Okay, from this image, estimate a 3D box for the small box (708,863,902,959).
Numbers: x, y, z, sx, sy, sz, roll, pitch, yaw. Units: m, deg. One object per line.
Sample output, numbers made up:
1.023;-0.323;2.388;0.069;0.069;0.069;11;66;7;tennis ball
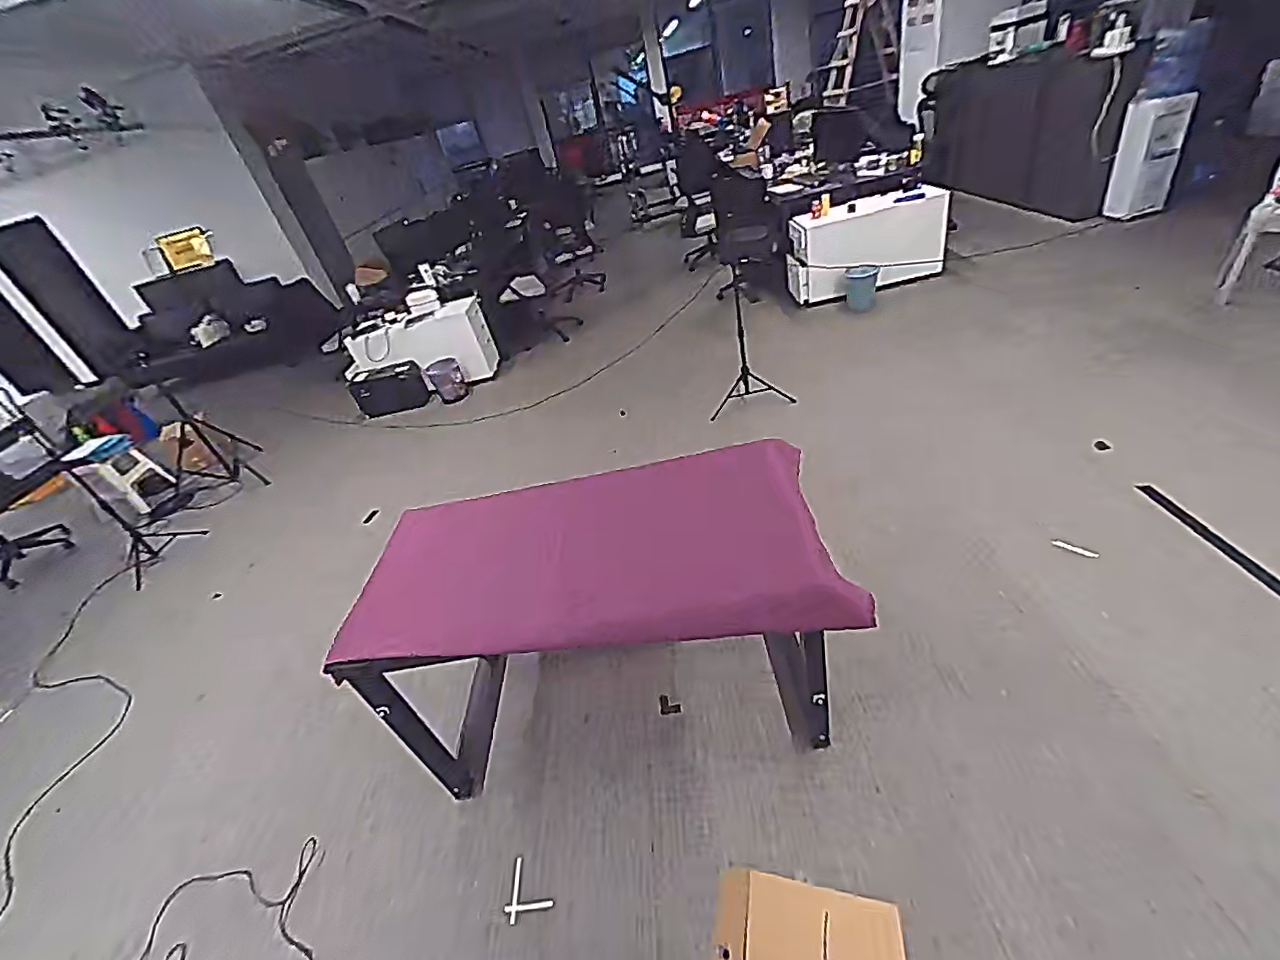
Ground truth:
0.172;0.548;0.598;0.168;0.176;0.179;12;54;3;small box
